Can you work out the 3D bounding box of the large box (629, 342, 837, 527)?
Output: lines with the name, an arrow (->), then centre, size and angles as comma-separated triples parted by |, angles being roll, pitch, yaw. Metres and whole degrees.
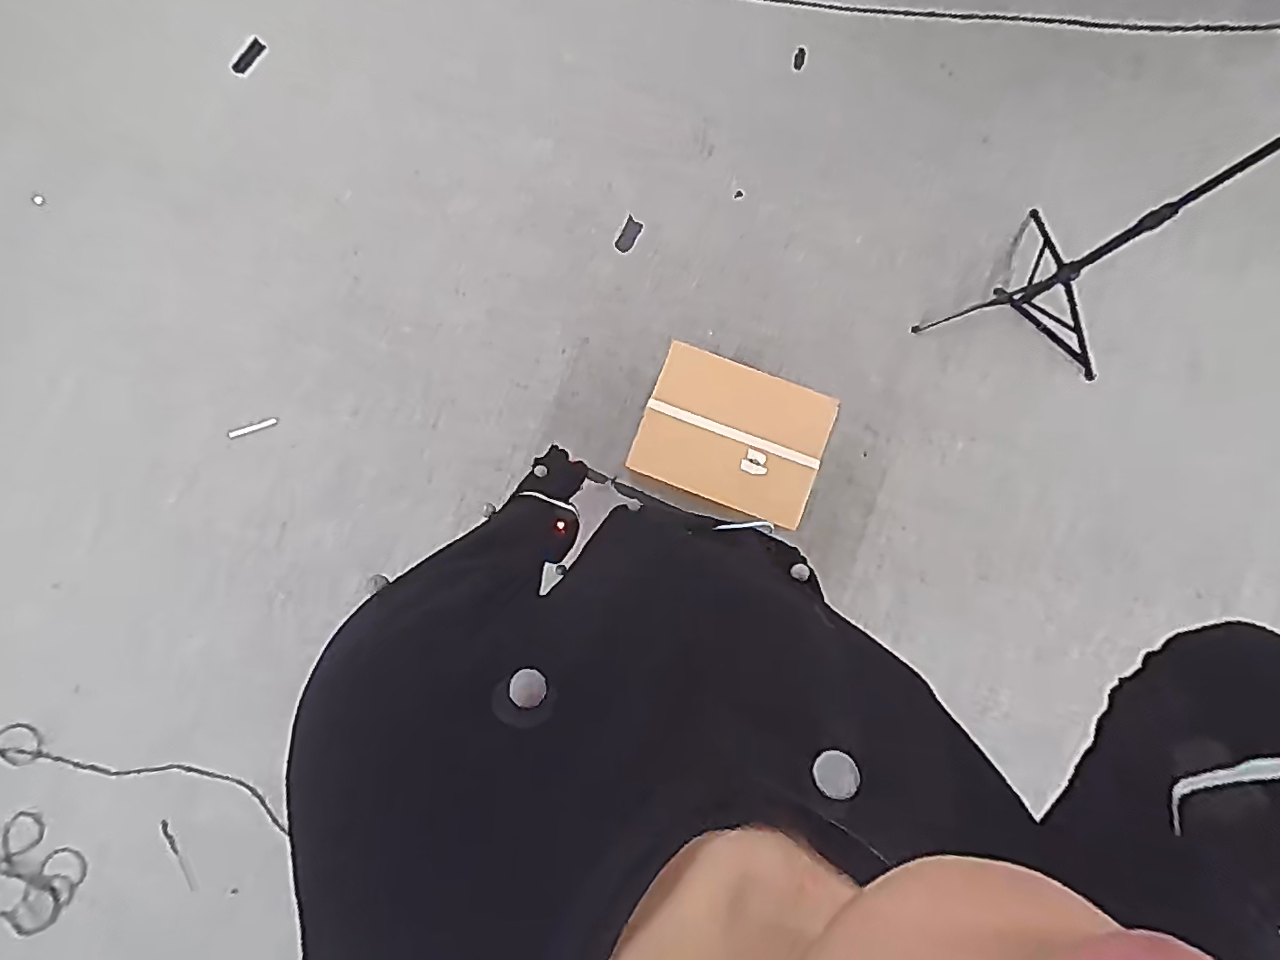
large box -> 0.208, -0.094, 1.362 | 0.408, 0.320, 0.320 | 21, 86, 2
